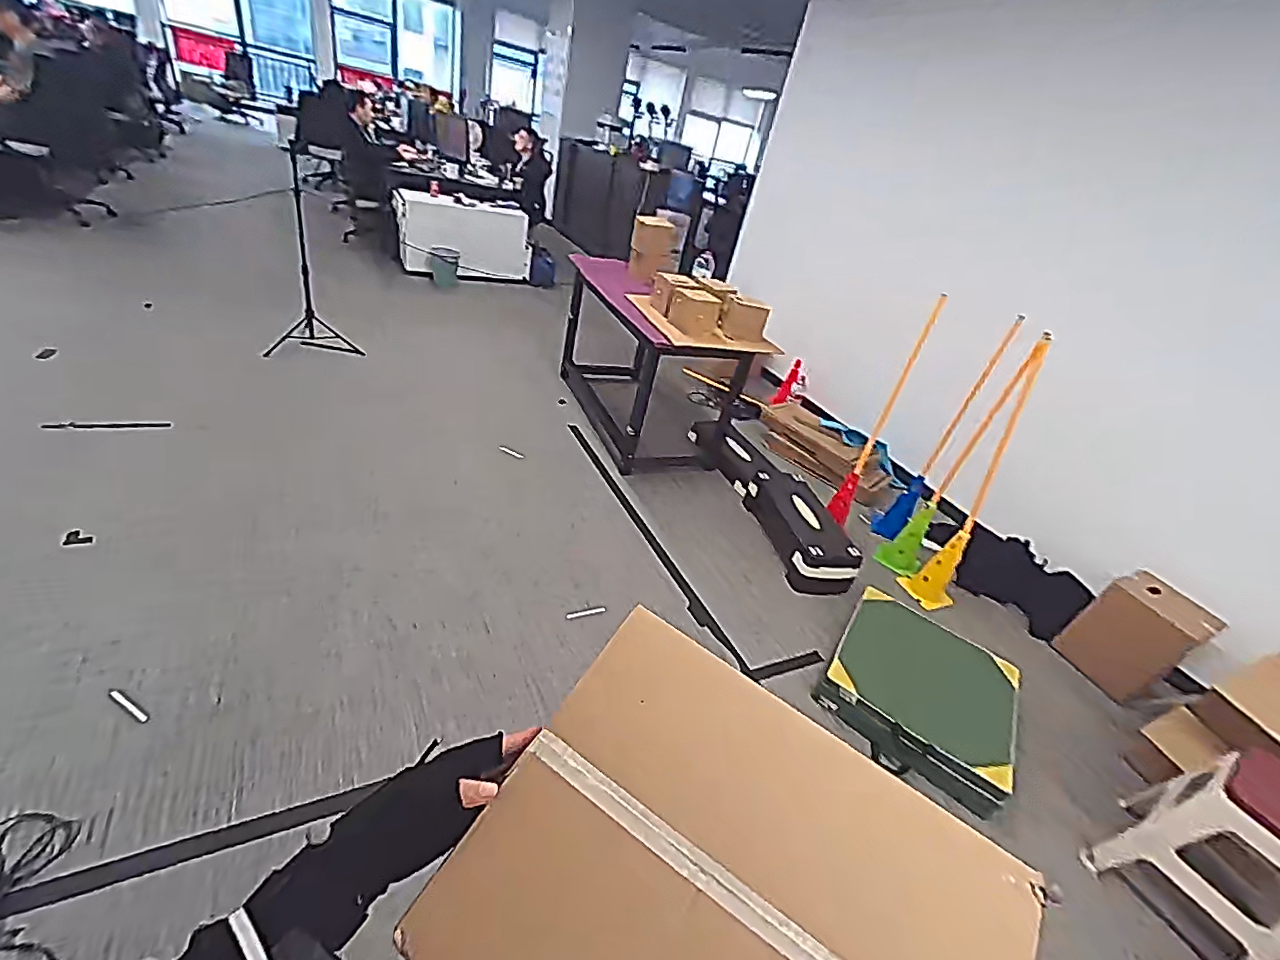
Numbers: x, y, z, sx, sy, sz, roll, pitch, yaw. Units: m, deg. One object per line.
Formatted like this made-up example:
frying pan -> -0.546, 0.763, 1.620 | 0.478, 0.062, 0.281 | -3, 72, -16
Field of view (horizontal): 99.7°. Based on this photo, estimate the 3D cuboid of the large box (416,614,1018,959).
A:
large box -> 0.059, 0.416, 0.539 | 0.408, 0.320, 0.320 | 32, 54, 15
